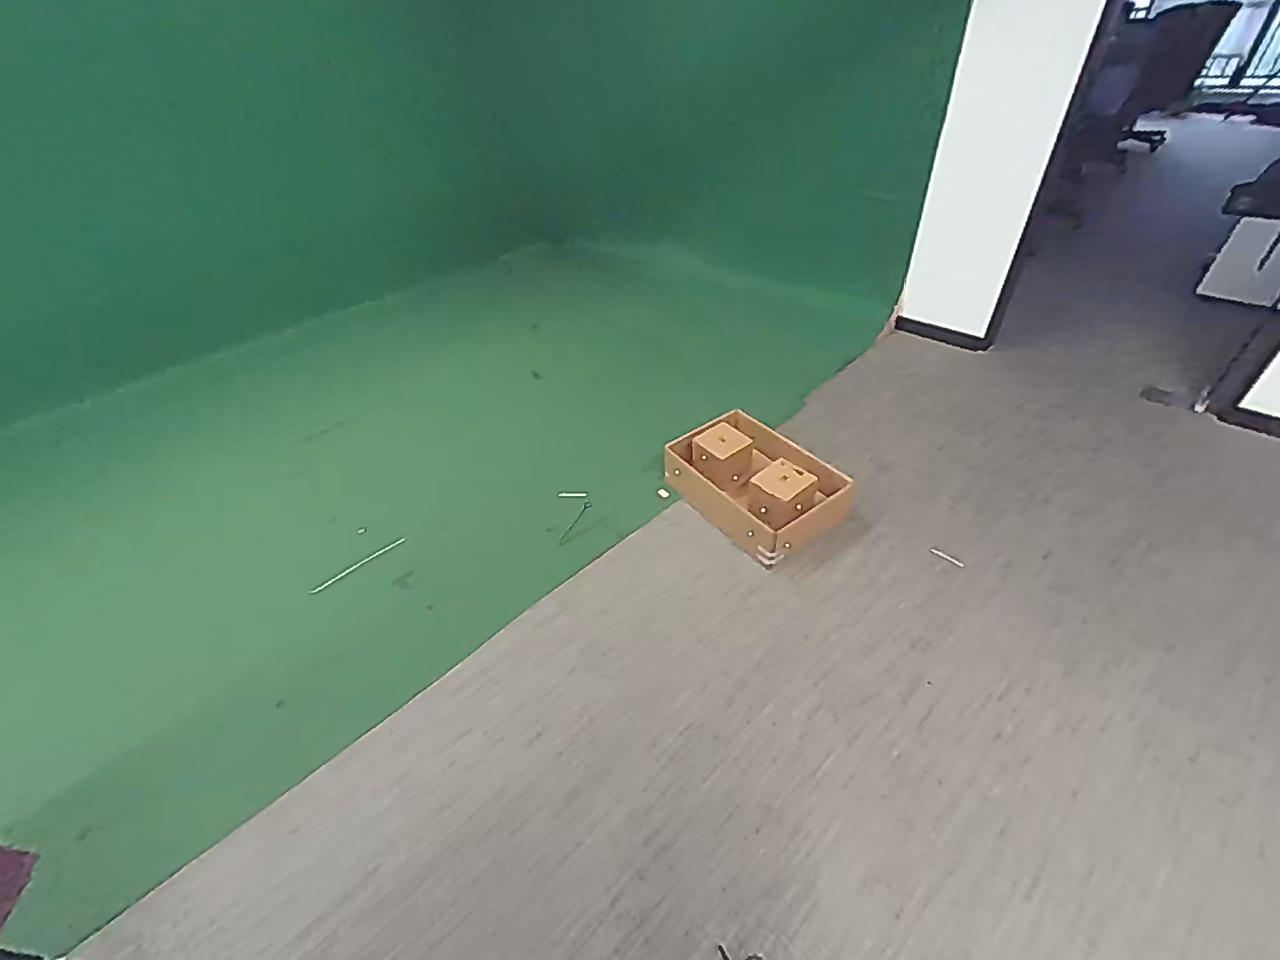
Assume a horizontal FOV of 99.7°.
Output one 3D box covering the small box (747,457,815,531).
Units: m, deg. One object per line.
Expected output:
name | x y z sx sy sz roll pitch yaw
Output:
small box | 0.505 0.054 1.951 0.179 0.176 0.168 -32 48 -24
